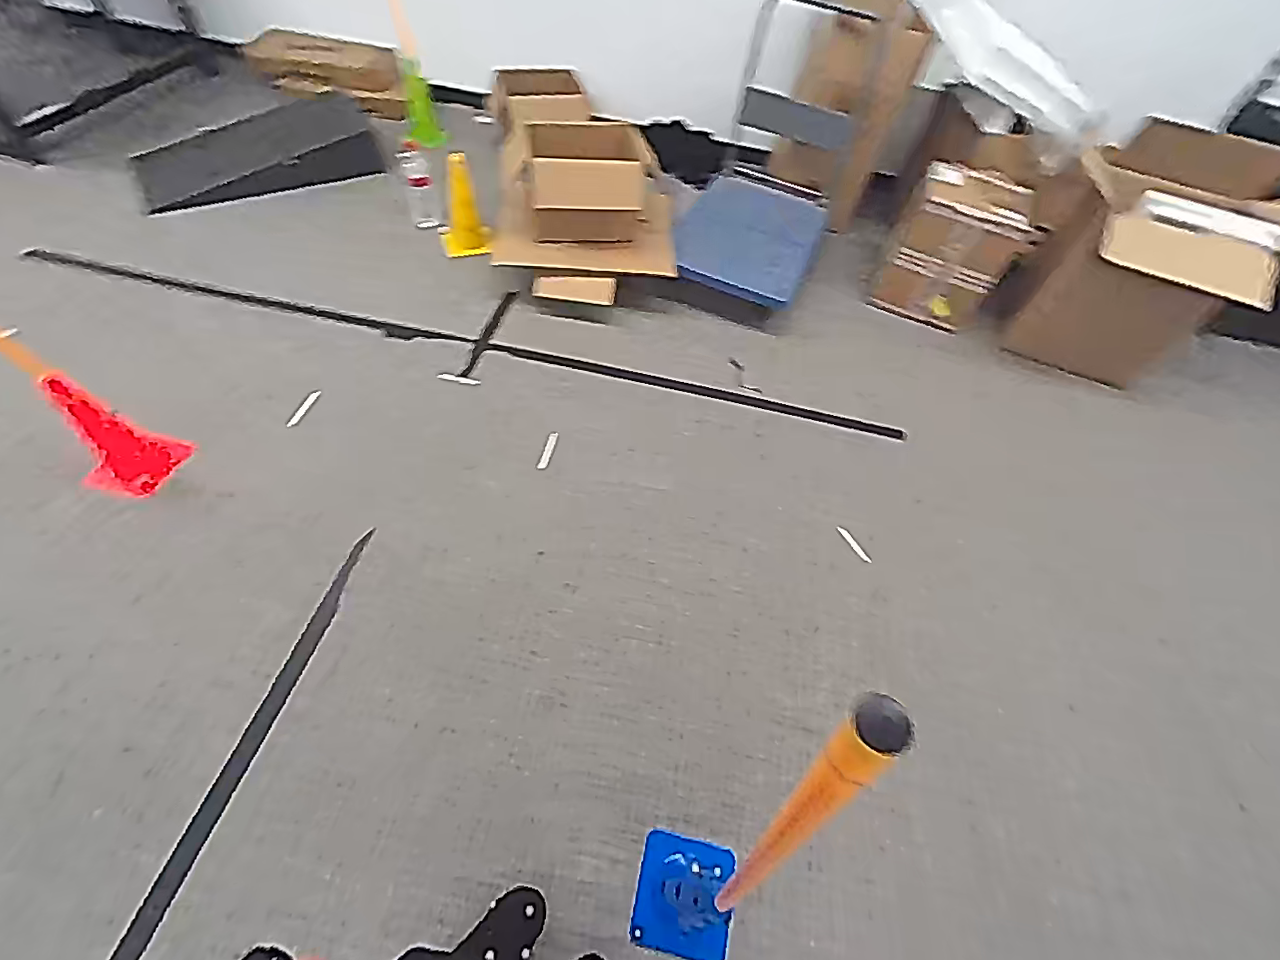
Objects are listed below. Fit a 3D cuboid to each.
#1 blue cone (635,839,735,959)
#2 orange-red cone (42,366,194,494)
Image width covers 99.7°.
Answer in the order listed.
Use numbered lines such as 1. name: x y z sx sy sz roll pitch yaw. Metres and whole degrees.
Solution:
1. blue cone: 0.113 0.778 0.989 0.193 0.380 0.192 16 55 4
2. orange-red cone: -1.419 -0.157 1.425 0.198 0.360 0.199 16 54 3
